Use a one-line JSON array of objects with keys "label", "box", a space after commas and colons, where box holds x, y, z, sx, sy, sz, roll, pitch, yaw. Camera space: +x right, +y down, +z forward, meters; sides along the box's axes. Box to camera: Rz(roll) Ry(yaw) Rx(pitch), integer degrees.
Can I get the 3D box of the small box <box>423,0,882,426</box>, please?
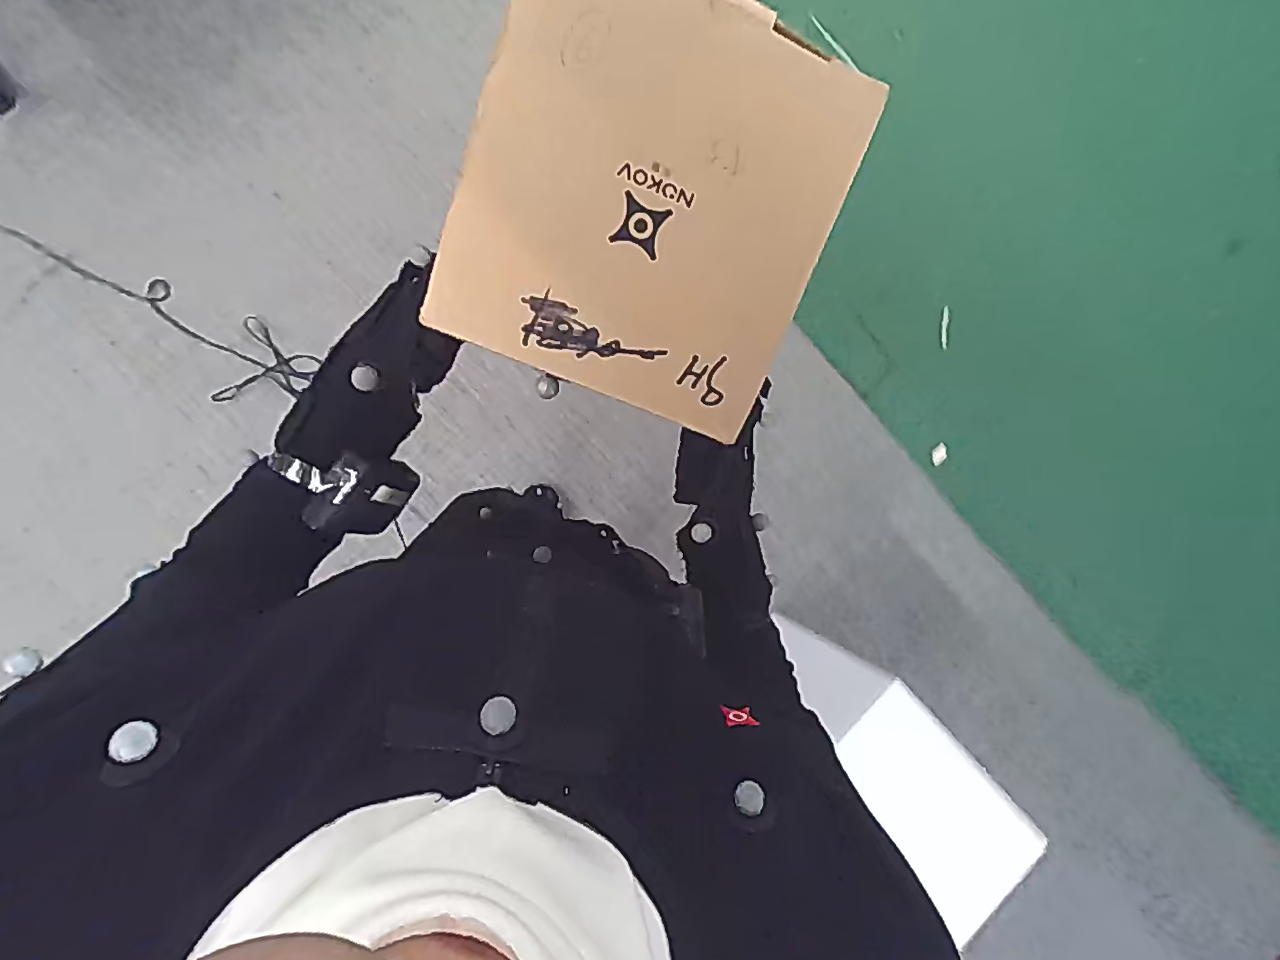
[{"label": "small box", "box": [-0.001, -0.152, 0.323, 0.168, 0.176, 0.179, 20, 103, -7]}]
